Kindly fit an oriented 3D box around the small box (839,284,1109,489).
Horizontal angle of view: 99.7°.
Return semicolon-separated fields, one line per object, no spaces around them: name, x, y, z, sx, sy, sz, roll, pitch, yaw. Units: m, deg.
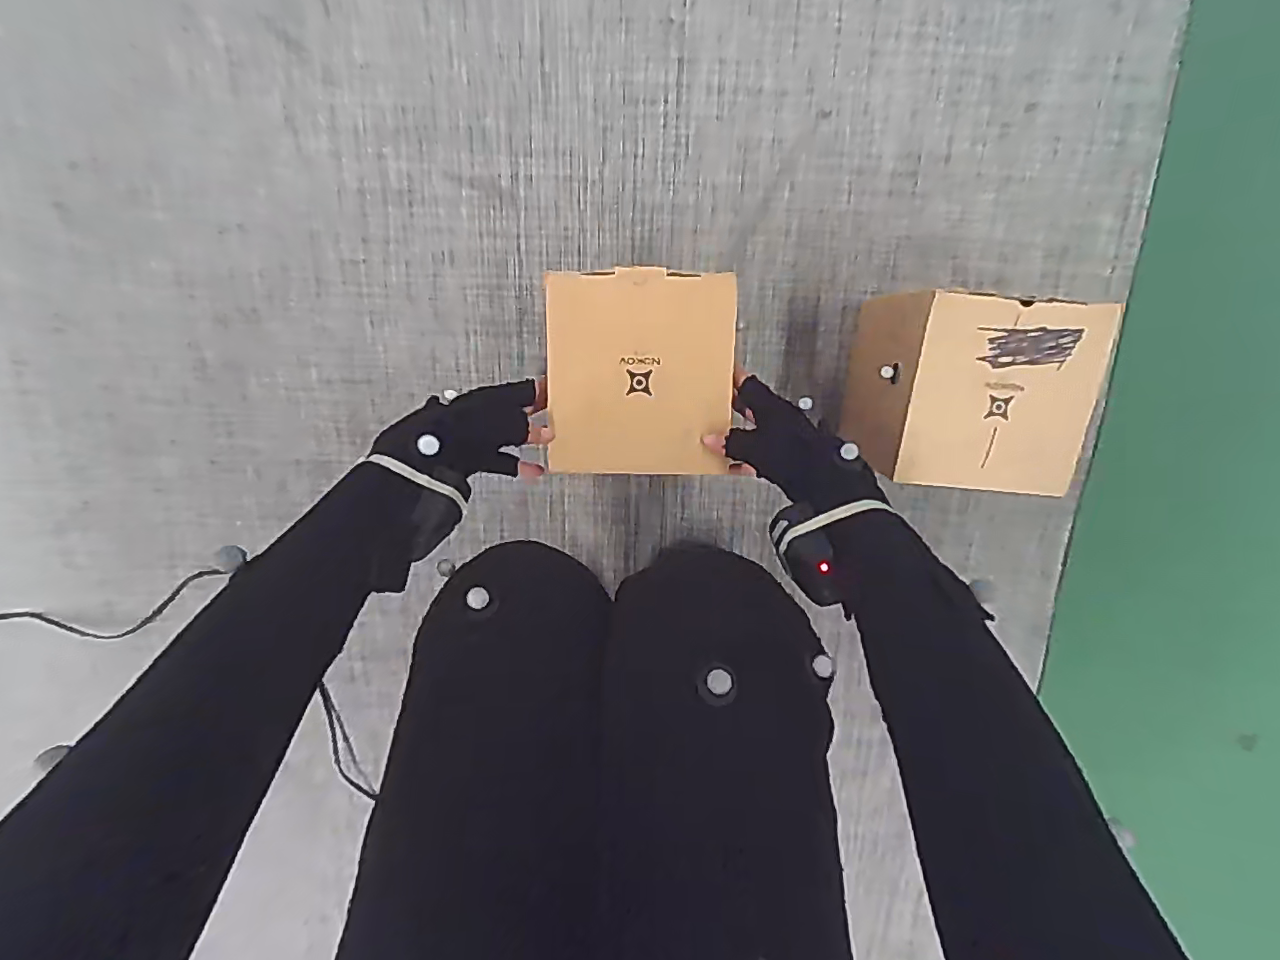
small box;0.327;-0.102;0.572;0.168;0.176;0.179;5;105;1
